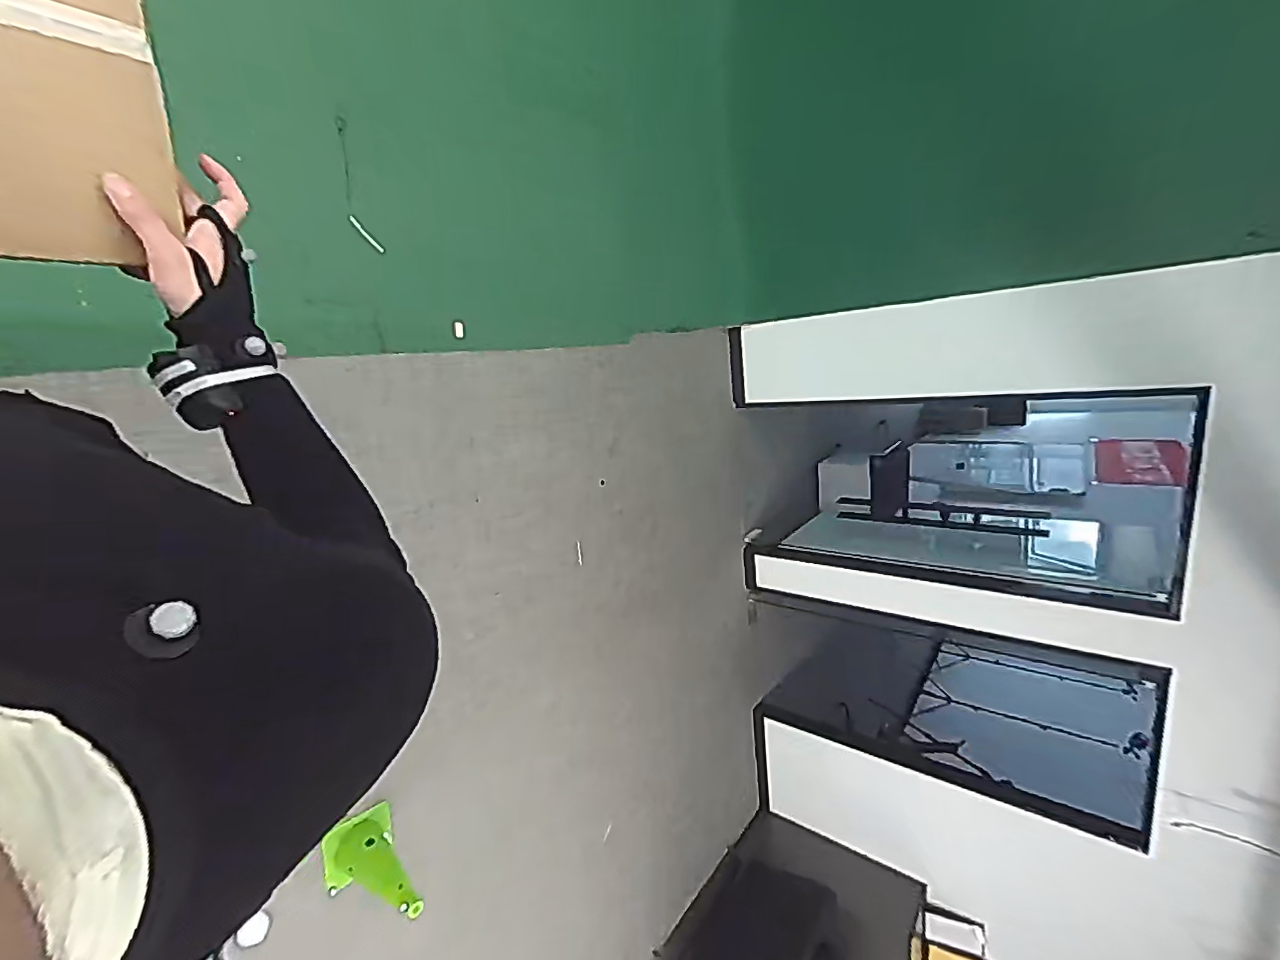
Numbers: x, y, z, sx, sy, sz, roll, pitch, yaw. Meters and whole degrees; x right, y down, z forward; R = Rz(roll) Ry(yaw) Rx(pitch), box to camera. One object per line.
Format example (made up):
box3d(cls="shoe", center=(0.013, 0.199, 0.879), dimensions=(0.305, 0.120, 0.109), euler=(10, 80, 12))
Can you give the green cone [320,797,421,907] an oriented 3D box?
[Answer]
box3d(cls="green cone", center=(-0.744, 1.128, 1.571), dimensions=(0.200, 0.368, 0.202), euler=(-11, 101, -51))
